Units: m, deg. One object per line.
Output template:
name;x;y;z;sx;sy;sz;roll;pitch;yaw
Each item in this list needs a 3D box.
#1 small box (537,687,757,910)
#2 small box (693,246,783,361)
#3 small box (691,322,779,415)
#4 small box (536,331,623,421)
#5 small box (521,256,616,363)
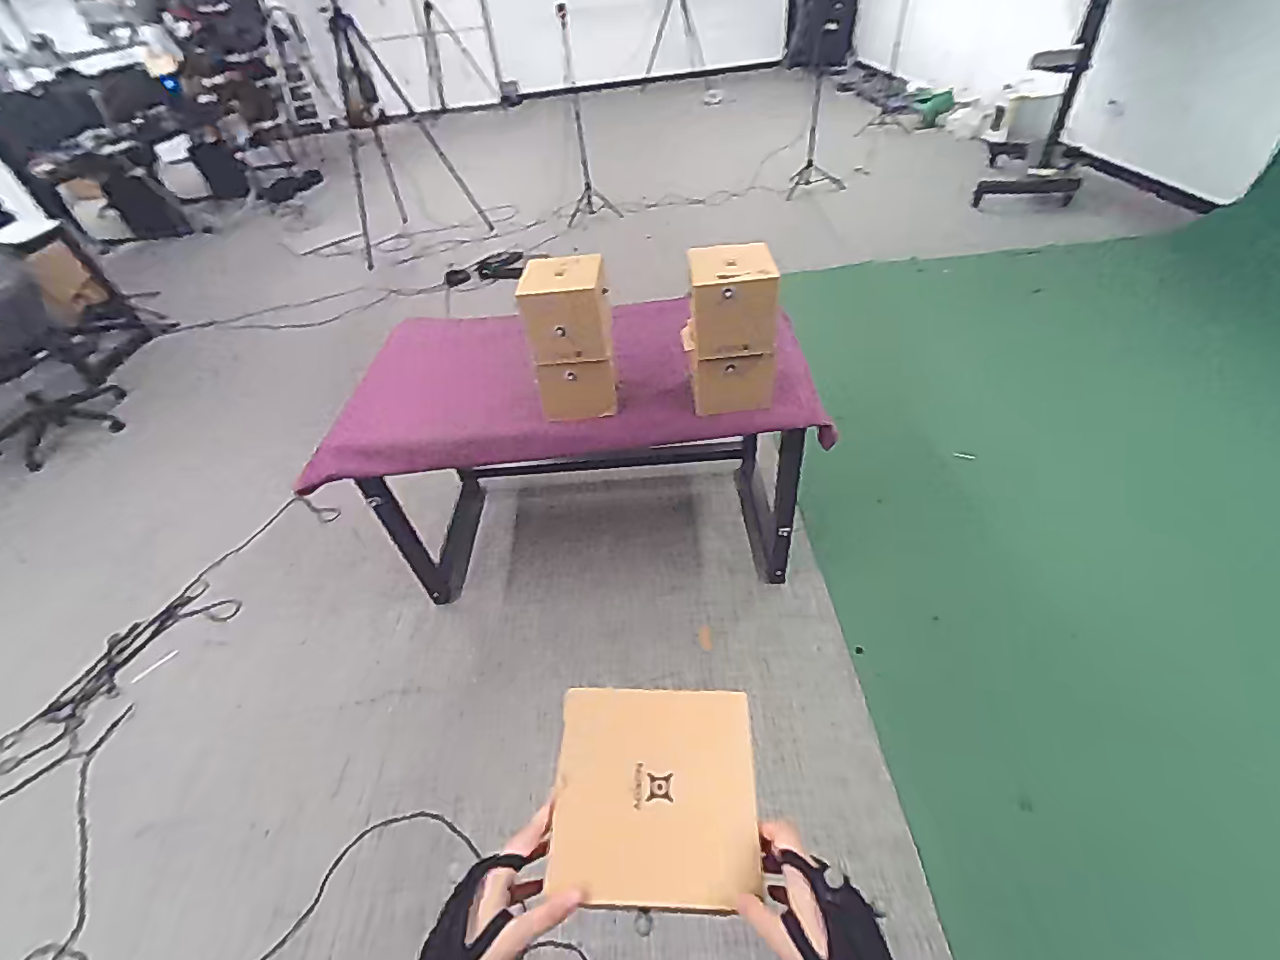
small box;0.010;0.316;0.534;0.179;0.176;0.168;-1;50;3
small box;0.200;-0.372;1.143;0.168;0.176;0.179;-5;44;4
small box;0.218;-0.268;1.270;0.179;0.176;0.168;-6;44;2
small box;-0.139;-0.256;1.312;0.179;0.176;0.168;-4;43;3
small box;-0.149;-0.371;1.195;0.168;0.176;0.179;-2;44;5
